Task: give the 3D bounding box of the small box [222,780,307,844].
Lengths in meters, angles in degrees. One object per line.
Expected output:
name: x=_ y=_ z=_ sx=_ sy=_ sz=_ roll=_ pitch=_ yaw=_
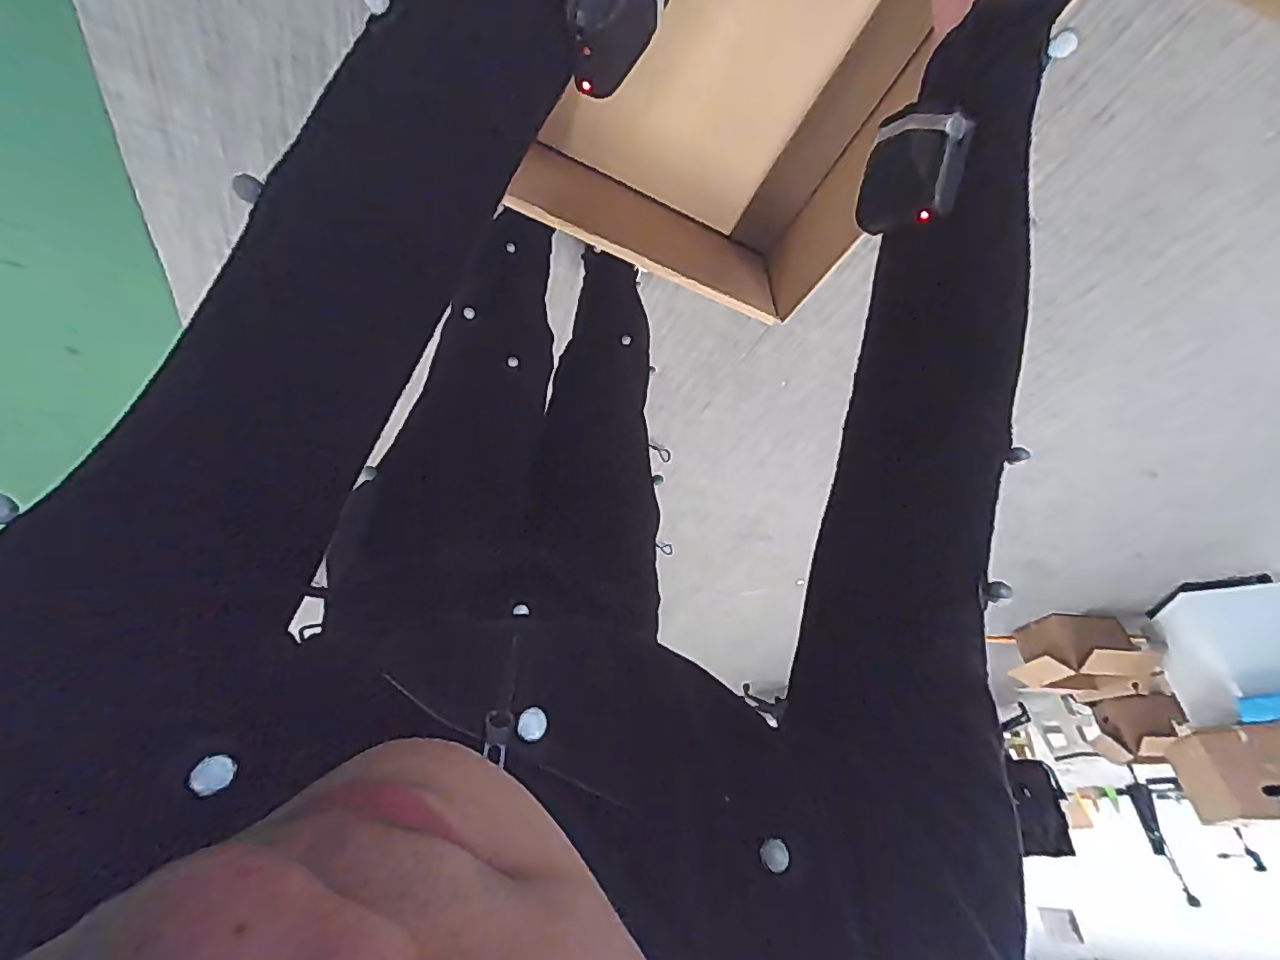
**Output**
small box: x=-1.166 y=1.038 z=1.695 sx=0.179 sy=0.176 sz=0.168 roll=13 pitch=143 yaw=-20
